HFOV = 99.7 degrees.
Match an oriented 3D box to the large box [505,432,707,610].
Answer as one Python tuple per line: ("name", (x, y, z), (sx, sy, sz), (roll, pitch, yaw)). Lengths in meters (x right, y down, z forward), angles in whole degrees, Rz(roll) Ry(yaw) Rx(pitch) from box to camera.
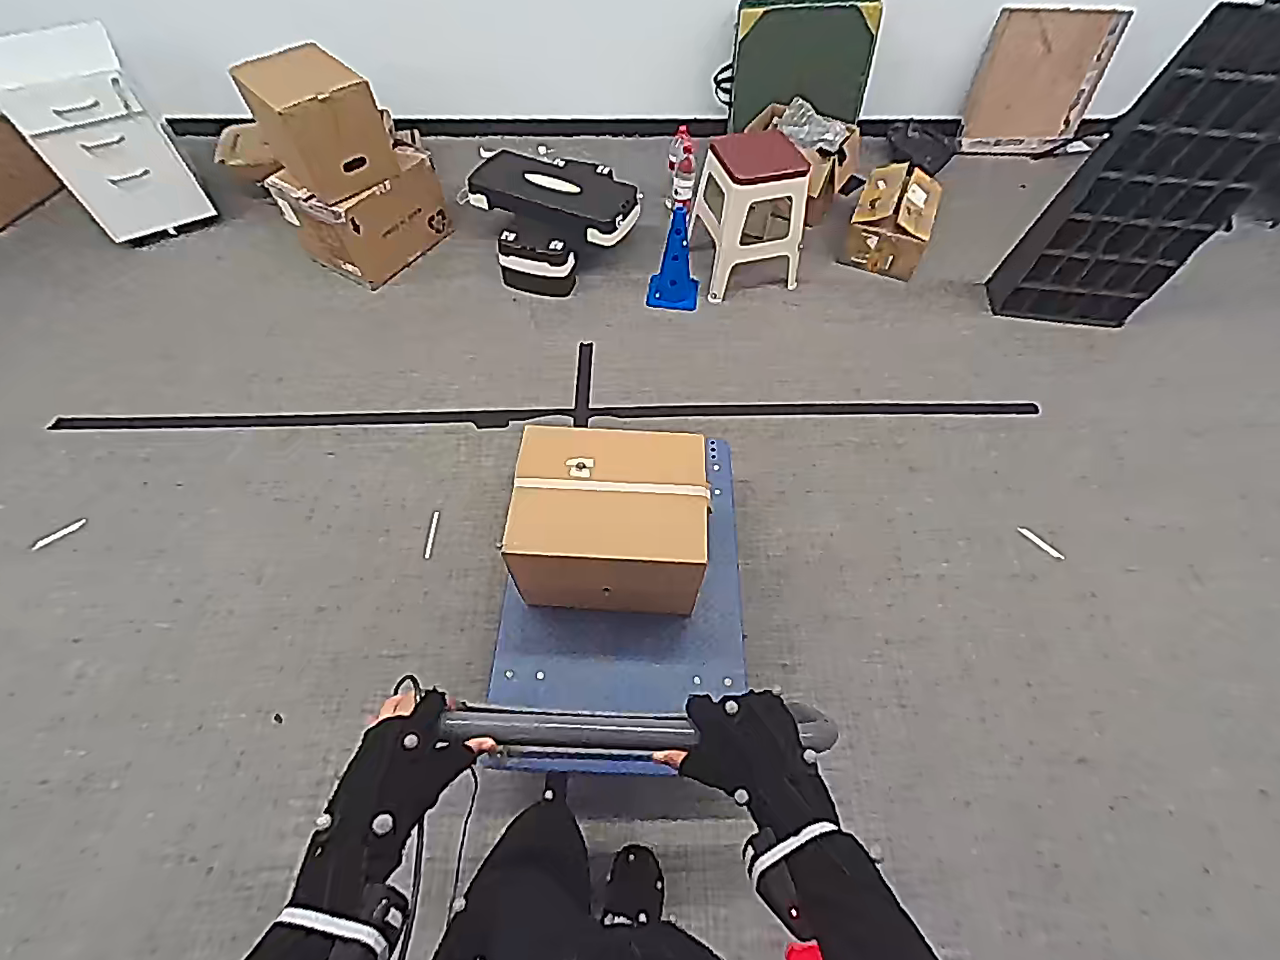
("large box", (-0.062, 0.106, 1.258), (0.408, 0.320, 0.320), (3, 58, 1))

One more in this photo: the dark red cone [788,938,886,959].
("dark red cone", (0.400, 0.919, 0.894), (0.201, 0.394, 0.202), (1, 58, -3))
